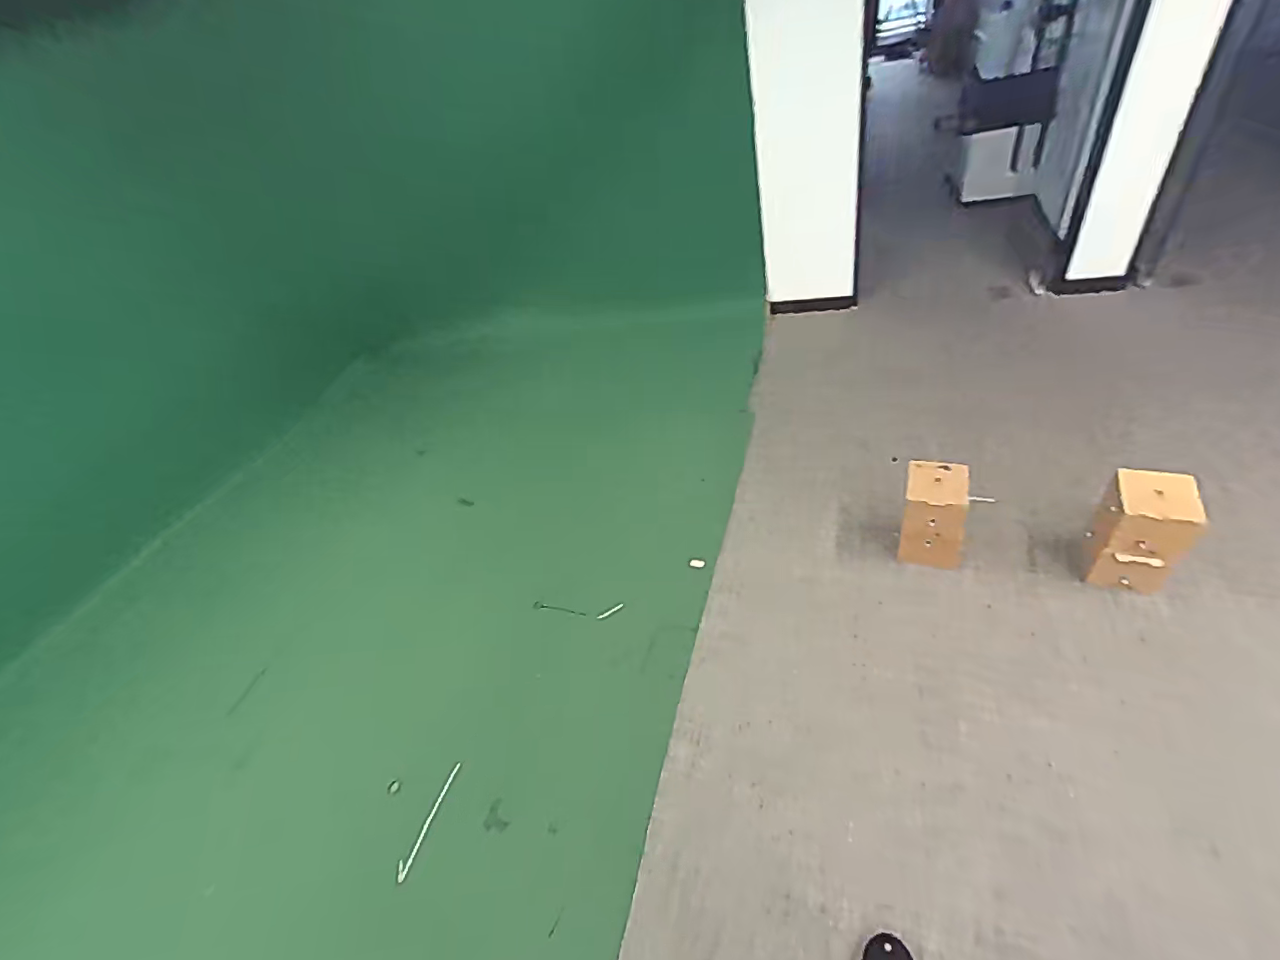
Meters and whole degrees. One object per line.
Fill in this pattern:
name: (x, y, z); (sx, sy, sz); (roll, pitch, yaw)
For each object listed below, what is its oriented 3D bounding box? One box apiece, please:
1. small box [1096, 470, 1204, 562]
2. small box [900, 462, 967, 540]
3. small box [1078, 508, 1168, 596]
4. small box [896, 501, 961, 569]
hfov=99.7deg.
small box: (1.406, 0.099, 1.505); (0.168, 0.176, 0.179); (9, 49, 25)
small box: (0.923, 0.067, 1.704); (0.168, 0.176, 0.179); (7, 50, 25)
small box: (1.436, 0.213, 1.615); (0.168, 0.176, 0.179); (11, 51, 31)
small box: (0.967, 0.179, 1.815); (0.179, 0.176, 0.168); (8, 49, 25)
